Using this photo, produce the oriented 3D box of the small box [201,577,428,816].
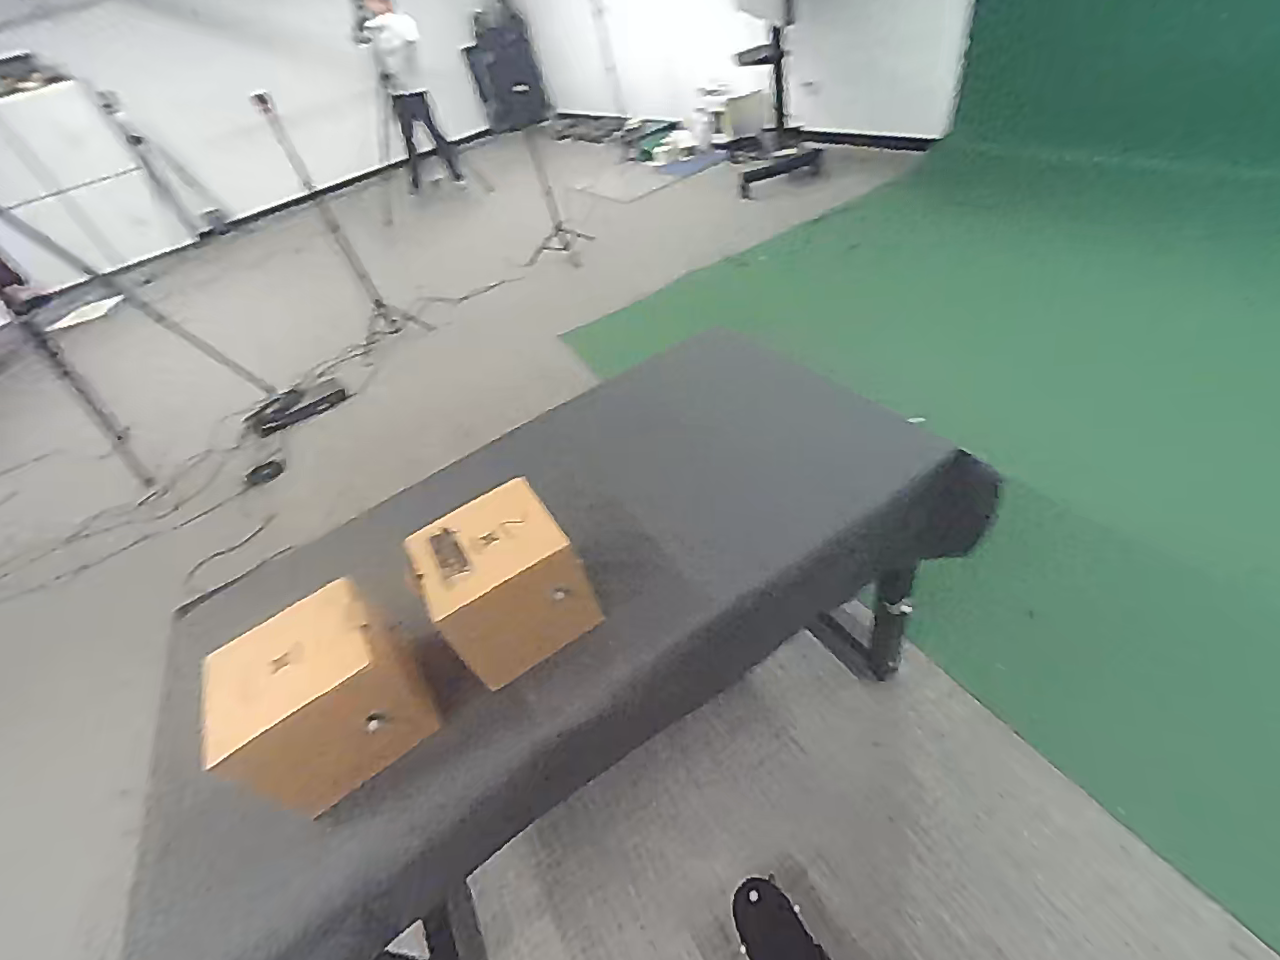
[{"bbox_3d":[-0.383,0.260,0.658,0.179,0.176,0.168,-34,43,-18],"label":"small box"}]
